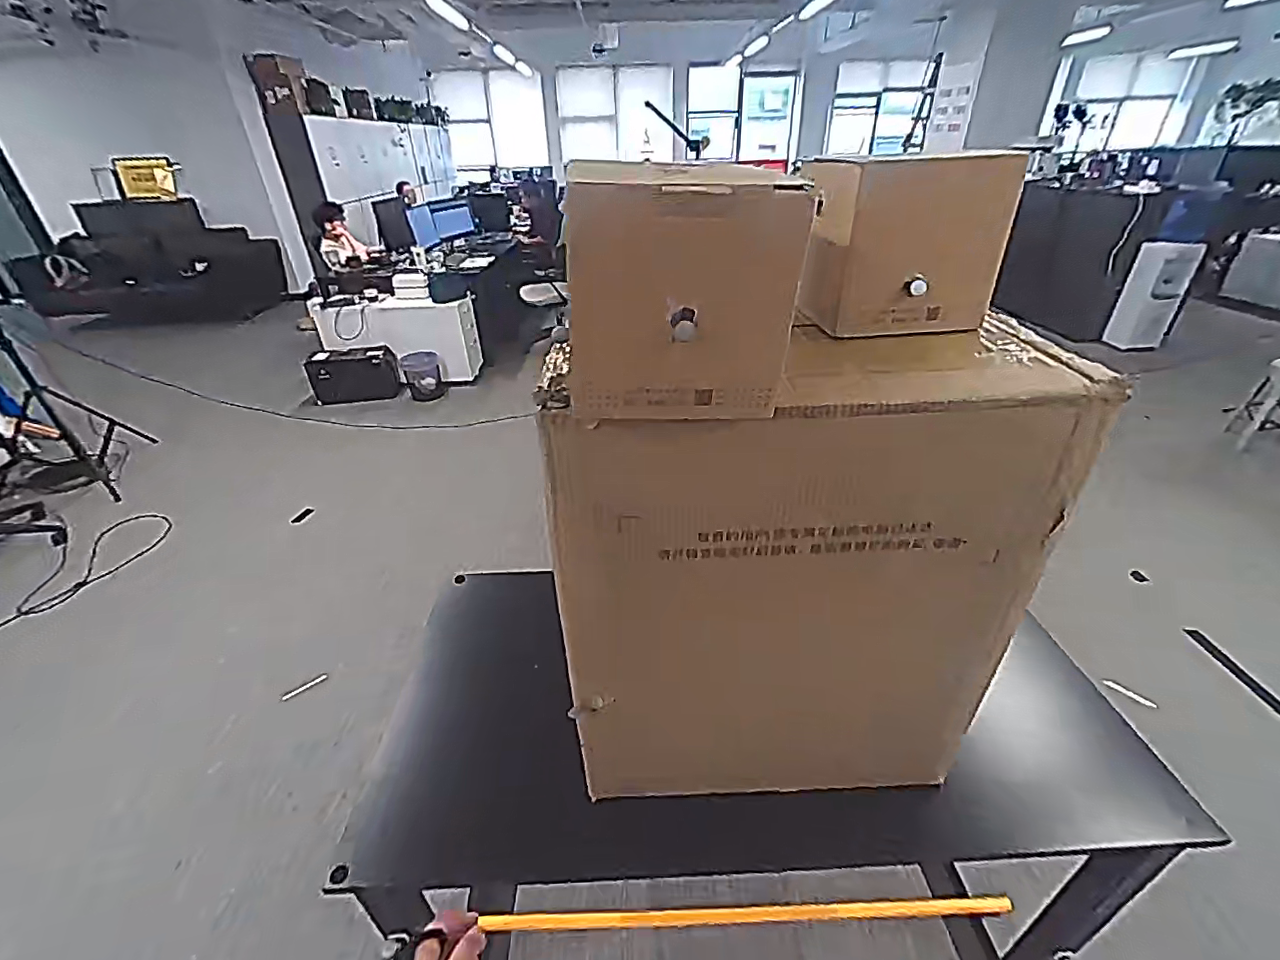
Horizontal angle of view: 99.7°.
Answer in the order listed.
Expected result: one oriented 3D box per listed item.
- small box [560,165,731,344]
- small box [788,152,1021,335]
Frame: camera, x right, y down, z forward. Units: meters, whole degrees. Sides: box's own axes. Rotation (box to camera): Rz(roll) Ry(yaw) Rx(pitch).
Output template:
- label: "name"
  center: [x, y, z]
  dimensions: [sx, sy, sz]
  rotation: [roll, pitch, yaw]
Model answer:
- label: "small box"
  center: [0.003, -0.263, 0.623]
  dimensions: [0.168, 0.176, 0.179]
  rotation: [-3, 32, -2]
- label: "small box"
  center: [0.276, -0.272, 0.617]
  dimensions: [0.168, 0.176, 0.179]
  rotation: [-5, 32, -2]
